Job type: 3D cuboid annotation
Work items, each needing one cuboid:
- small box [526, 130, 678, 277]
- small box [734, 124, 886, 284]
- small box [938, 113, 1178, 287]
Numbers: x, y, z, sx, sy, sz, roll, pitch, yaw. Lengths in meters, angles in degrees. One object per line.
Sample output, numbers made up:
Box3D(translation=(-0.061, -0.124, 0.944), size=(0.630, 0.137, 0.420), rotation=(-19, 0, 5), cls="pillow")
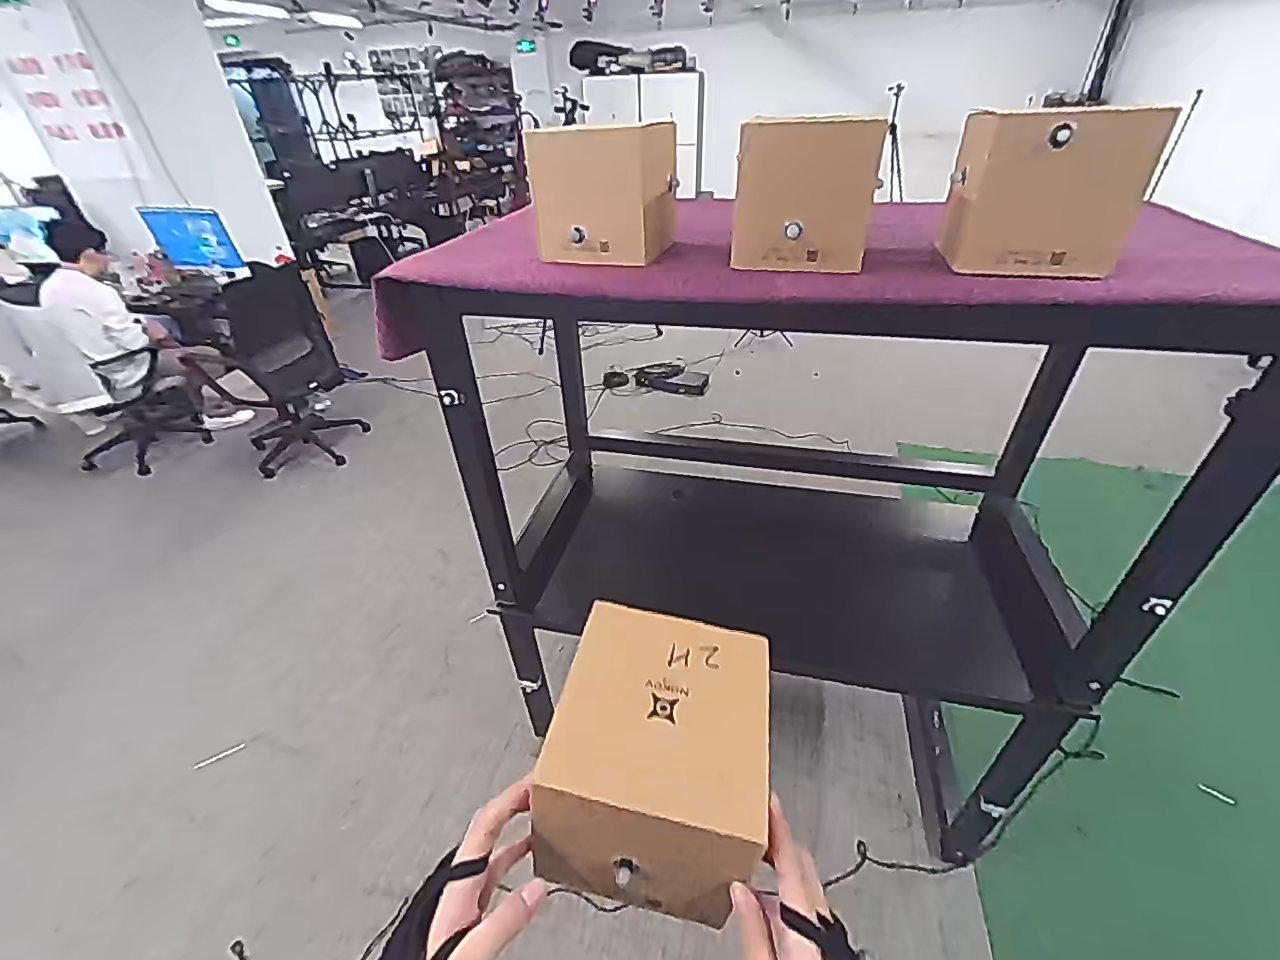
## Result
Box3D(translation=(-0.046, -0.409, 0.794), size=(0.168, 0.176, 0.179), rotation=(8, 36, 16), cls="small box")
Box3D(translation=(0.222, -0.375, 0.728), size=(0.168, 0.176, 0.179), rotation=(8, 36, 15), cls="small box")
Box3D(translation=(0.488, -0.348, 0.670), size=(0.168, 0.176, 0.179), rotation=(7, 34, 15), cls="small box")
